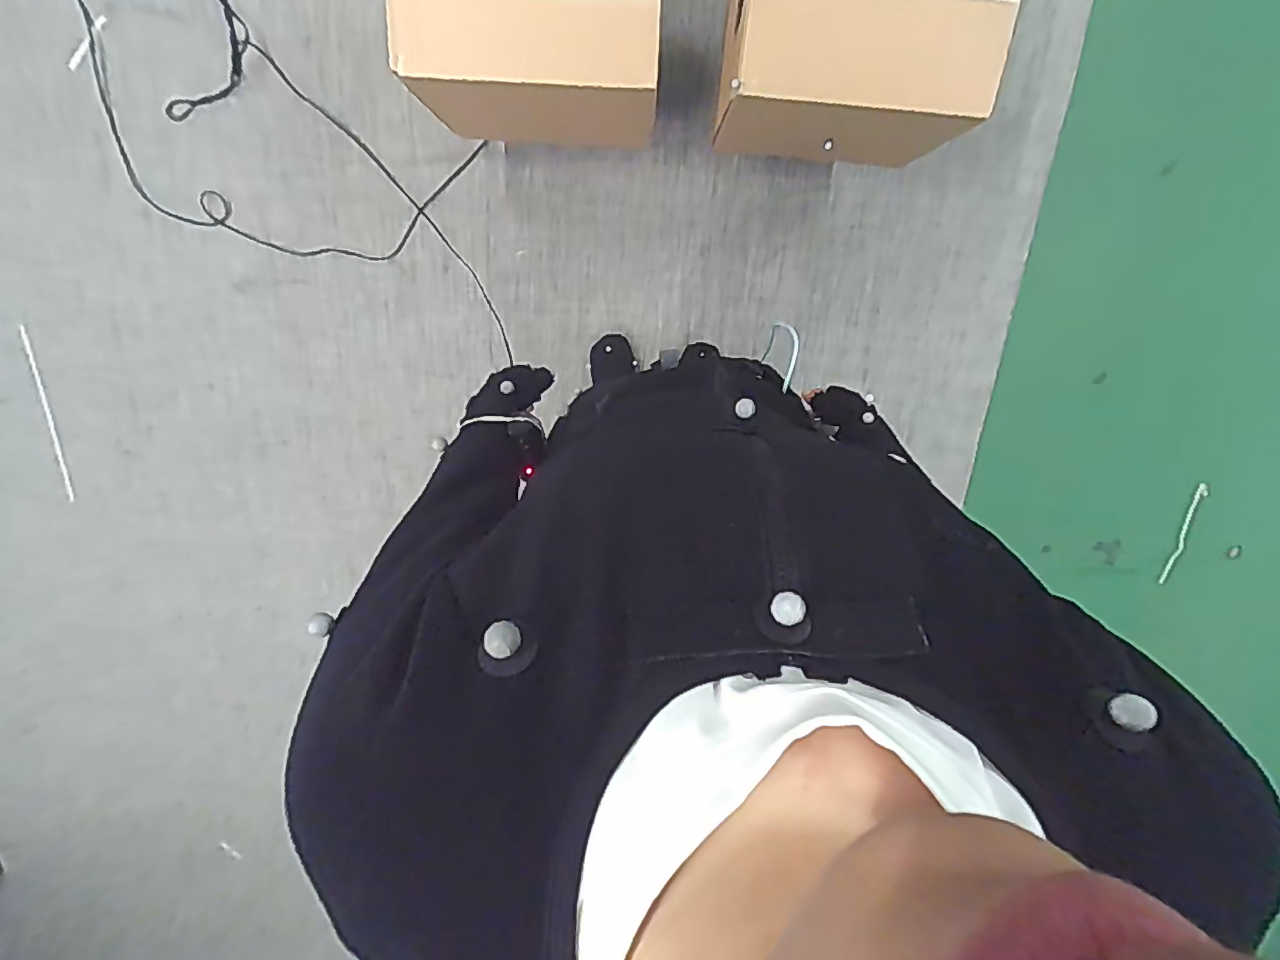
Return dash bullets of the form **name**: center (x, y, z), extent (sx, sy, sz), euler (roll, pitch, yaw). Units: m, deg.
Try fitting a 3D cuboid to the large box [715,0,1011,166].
- **large box**: center (0.366, -0.775, 0.960), extent (0.408, 0.320, 0.320), euler (5, 107, -1)
